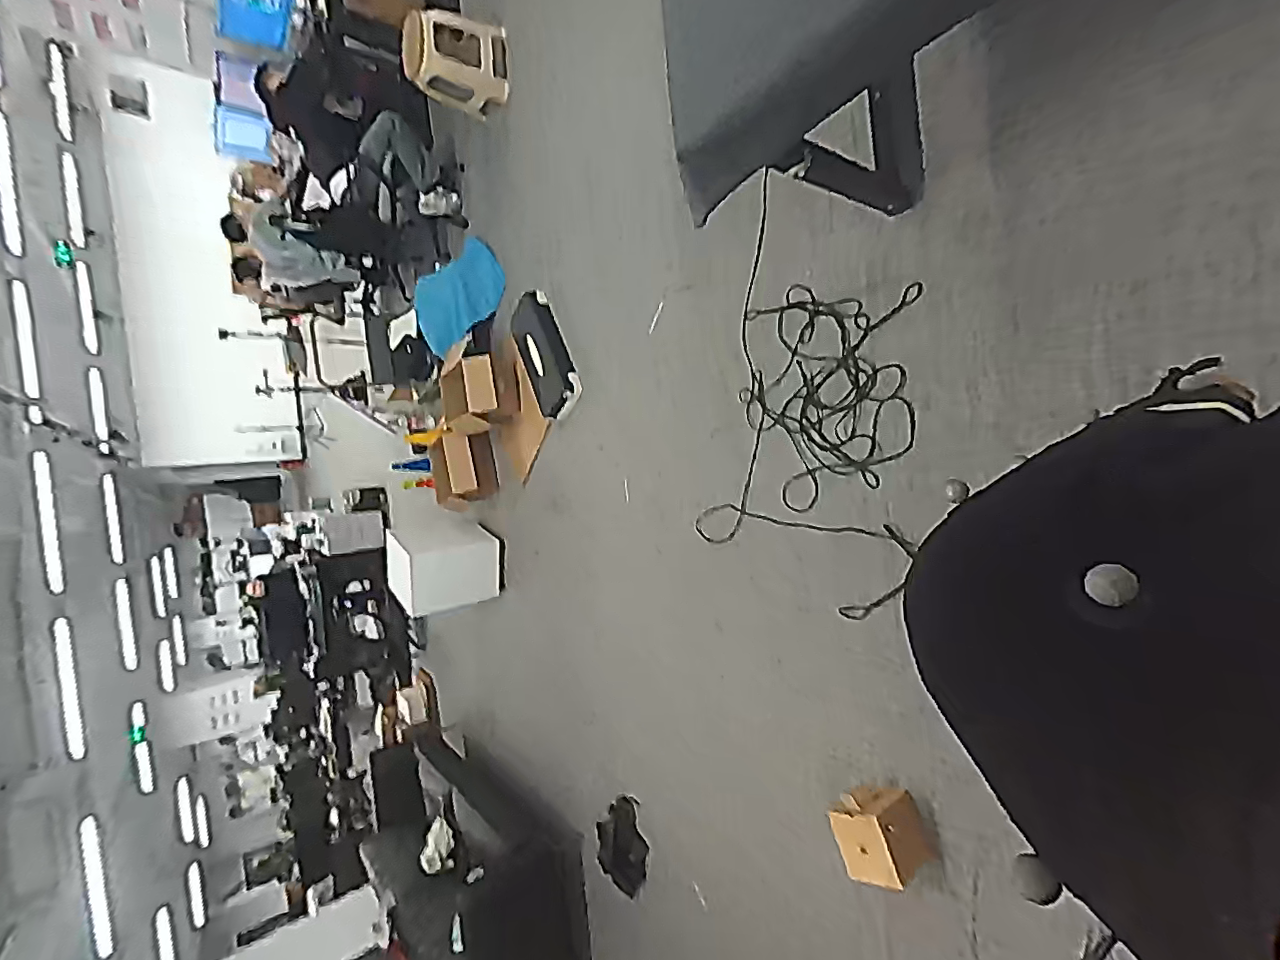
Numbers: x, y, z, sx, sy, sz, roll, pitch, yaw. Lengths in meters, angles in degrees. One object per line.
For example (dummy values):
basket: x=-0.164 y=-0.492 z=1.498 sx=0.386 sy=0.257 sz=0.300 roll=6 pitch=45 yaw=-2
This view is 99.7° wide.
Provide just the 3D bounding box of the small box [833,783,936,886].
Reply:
small box: x=0.679 y=0.973 z=1.497 sx=0.168 sy=0.176 sz=0.179 roll=-35 pitch=67 yaw=49
